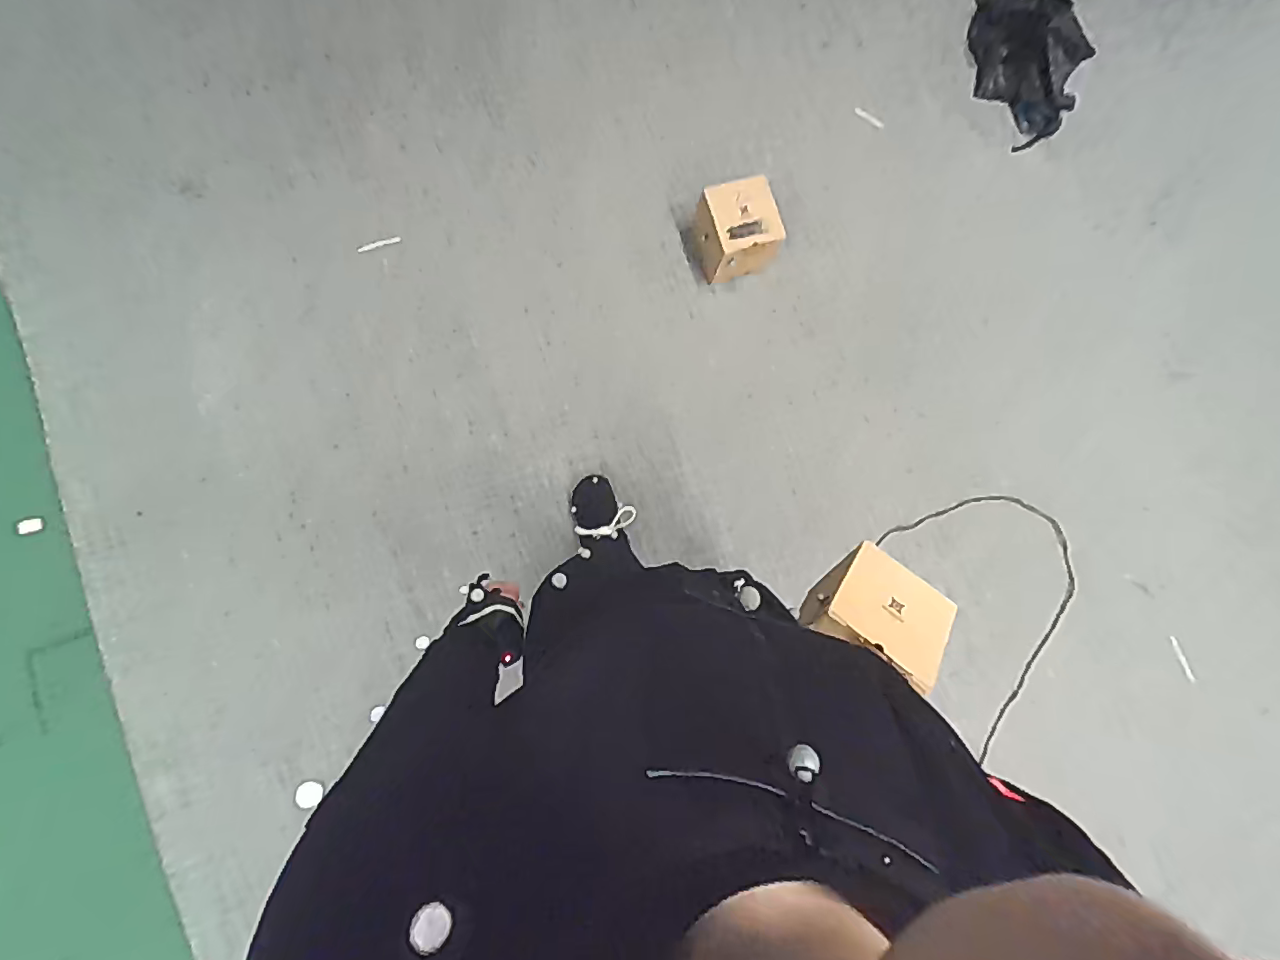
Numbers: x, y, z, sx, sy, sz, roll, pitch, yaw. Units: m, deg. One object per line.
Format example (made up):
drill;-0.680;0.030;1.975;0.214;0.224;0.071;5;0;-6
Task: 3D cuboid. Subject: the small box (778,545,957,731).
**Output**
small box;0.336;0.238;0.815;0.168;0.176;0.179;37;47;12
